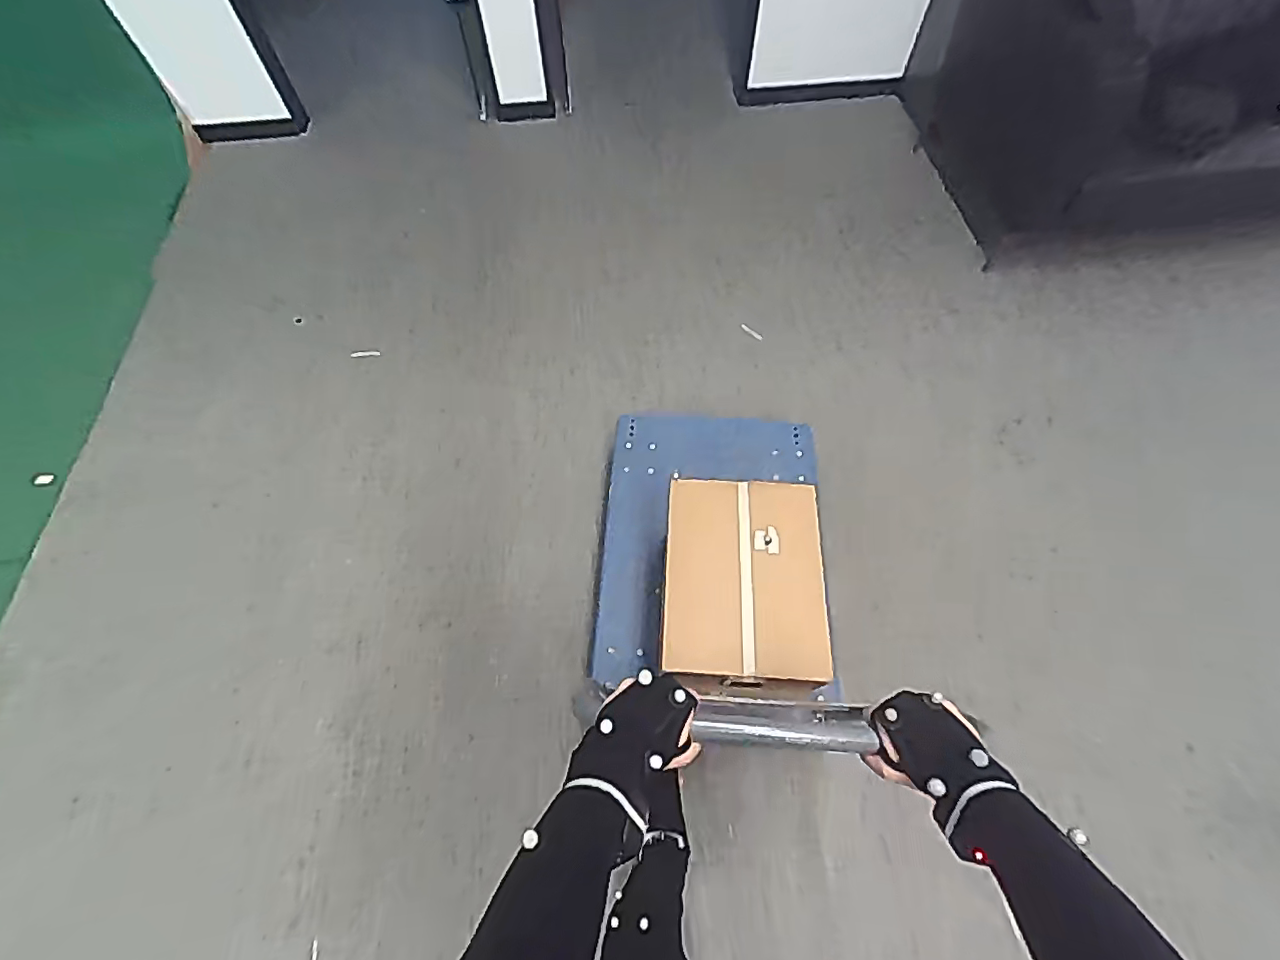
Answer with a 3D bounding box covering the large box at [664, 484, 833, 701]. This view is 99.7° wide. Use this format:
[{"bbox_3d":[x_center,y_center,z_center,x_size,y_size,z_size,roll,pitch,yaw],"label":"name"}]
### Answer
[{"bbox_3d":[0.212,0.259,1.212,0.320,0.320,0.408,3,61,1],"label":"large box"}]
